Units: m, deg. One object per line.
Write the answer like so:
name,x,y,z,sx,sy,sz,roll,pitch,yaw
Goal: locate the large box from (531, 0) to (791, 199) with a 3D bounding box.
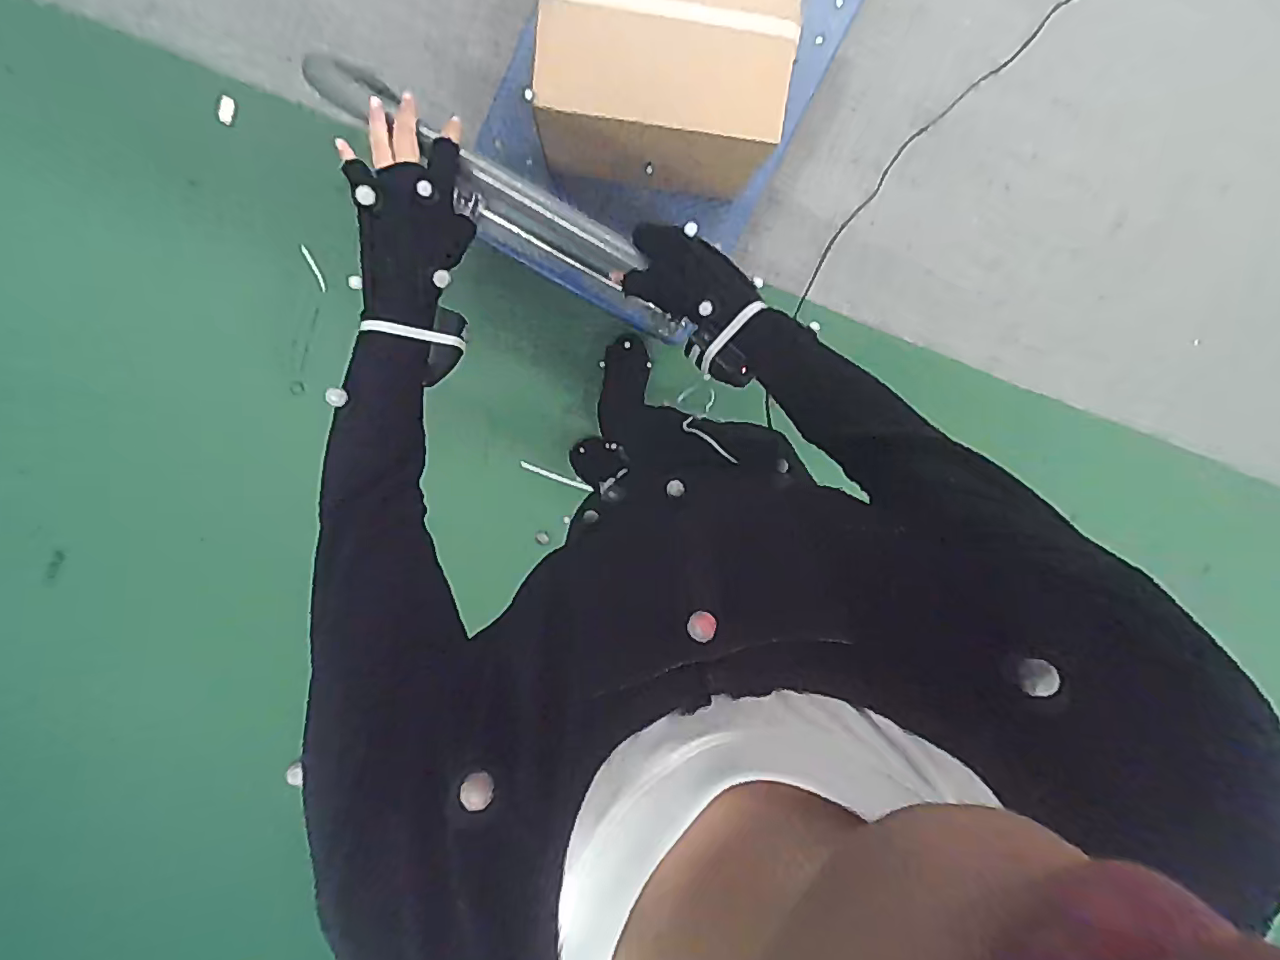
large box,0.030,-0.741,0.993,0.408,0.320,0.320,5,101,-4
